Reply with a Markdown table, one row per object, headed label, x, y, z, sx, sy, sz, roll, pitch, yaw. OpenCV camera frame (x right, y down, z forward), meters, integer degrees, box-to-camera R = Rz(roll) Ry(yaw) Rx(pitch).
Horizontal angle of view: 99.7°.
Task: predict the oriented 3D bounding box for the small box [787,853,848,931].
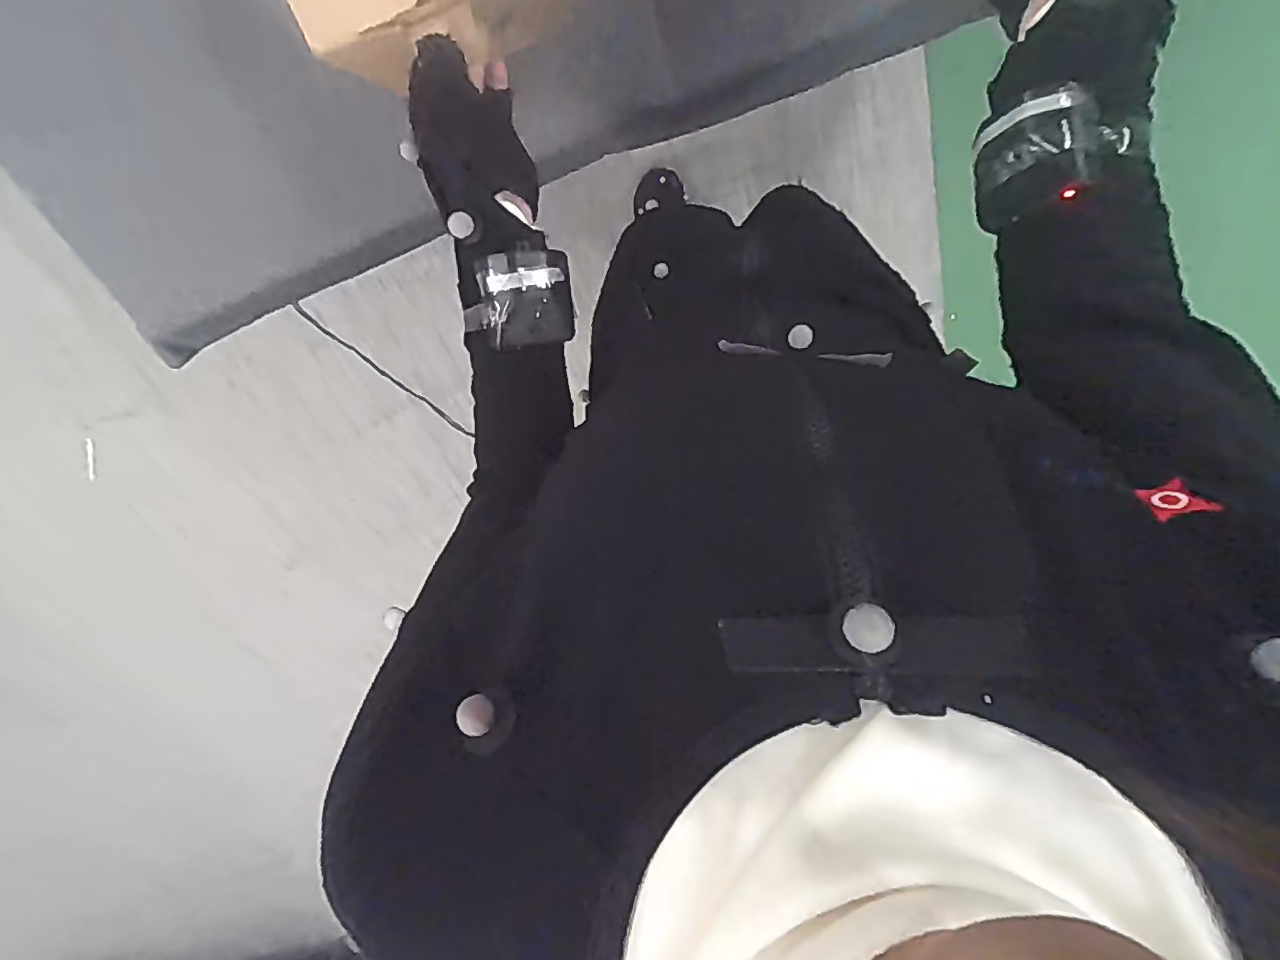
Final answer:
| label | x | y | z | sx | sy | sz | roll | pitch | yaw |
| --- | --- | --- | --- | --- | --- | --- | --- | --- | --- |
| small box | 0.658 | 1.539 | 2.024 | 0.179 | 0.176 | 0.168 | -13 | 116 | 5 |

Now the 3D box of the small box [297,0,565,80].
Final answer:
| label | x | y | z | sx | sy | sz | roll | pitch | yaw |
| --- | --- | --- | --- | --- | --- | --- | --- | --- | --- |
| small box | -0.160 | -0.411 | 0.377 | 0.168 | 0.176 | 0.179 | -18 | 116 | 6 |
